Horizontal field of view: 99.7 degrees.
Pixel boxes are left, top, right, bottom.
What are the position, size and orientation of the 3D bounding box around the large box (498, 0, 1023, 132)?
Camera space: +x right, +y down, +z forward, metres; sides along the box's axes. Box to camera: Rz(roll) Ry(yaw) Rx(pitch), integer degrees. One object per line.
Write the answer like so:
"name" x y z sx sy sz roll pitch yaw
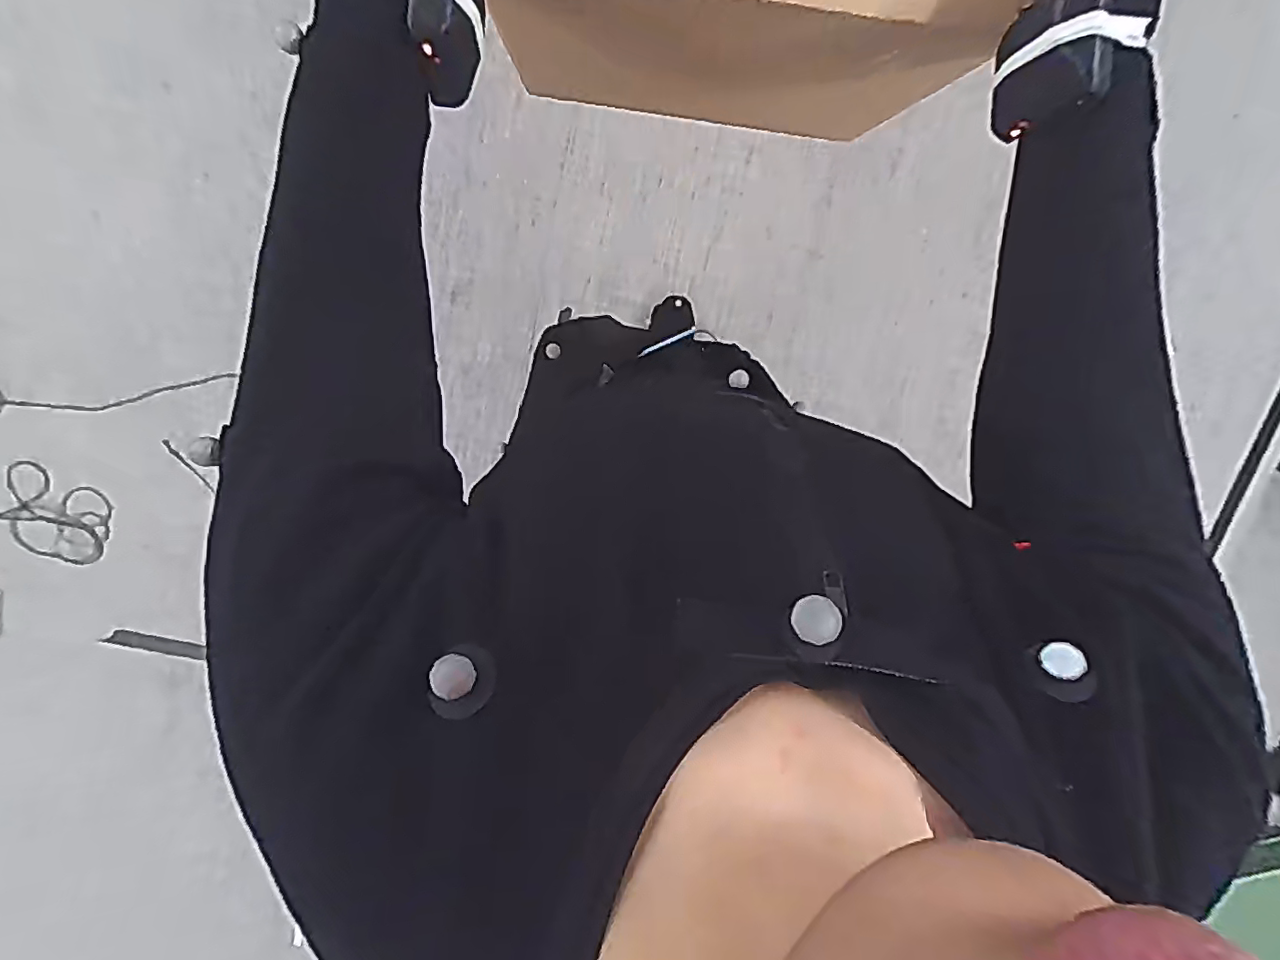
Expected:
"large box" 0.086 -0.542 0.473 0.408 0.320 0.320 5 110 -5
